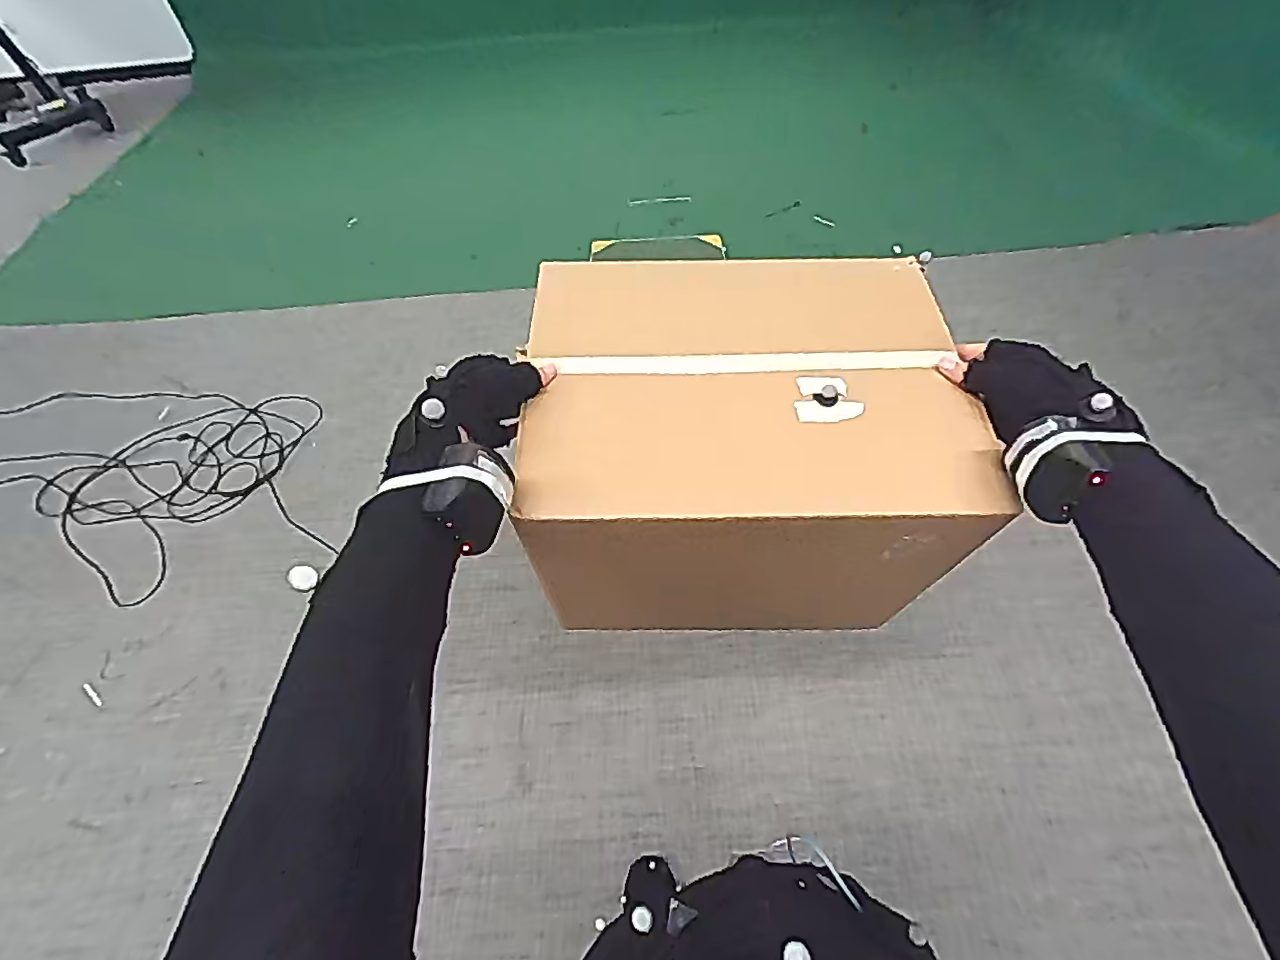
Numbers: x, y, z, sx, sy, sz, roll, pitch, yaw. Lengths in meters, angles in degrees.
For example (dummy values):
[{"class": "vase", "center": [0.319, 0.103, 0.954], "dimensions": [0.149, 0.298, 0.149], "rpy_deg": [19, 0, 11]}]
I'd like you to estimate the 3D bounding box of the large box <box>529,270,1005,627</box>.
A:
[{"class": "large box", "center": [0.100, -0.023, 0.645], "dimensions": [0.408, 0.320, 0.320], "rpy_deg": [-1, 59, -1]}]
